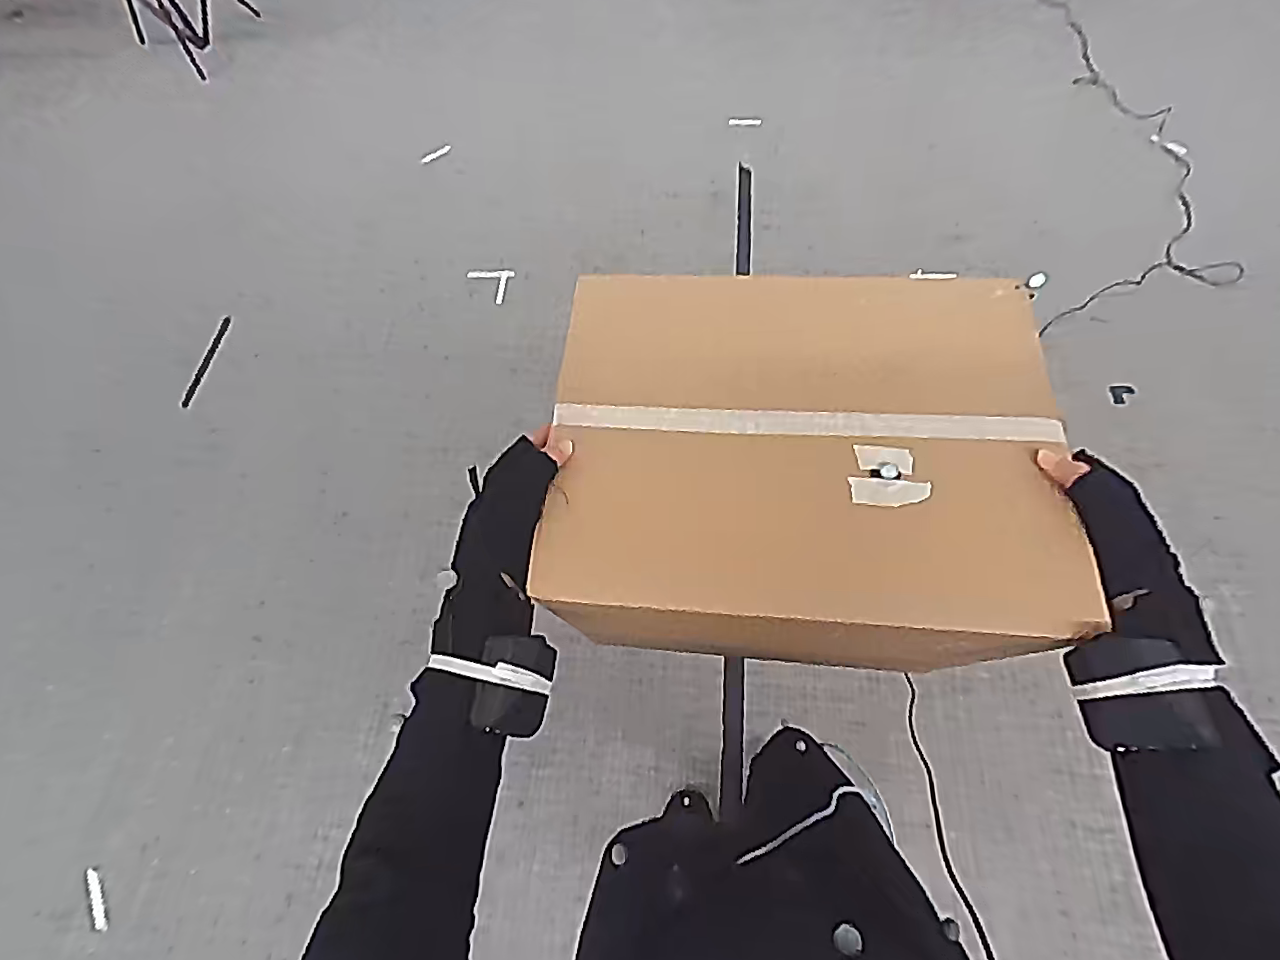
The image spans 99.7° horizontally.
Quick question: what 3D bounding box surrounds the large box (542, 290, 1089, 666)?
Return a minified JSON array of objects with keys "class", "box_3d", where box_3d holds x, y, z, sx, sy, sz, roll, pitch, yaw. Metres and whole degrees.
[{"class":"large box","box_3d":[0.140,0.019,0.590,0.408,0.320,0.320,3,68,6]}]
